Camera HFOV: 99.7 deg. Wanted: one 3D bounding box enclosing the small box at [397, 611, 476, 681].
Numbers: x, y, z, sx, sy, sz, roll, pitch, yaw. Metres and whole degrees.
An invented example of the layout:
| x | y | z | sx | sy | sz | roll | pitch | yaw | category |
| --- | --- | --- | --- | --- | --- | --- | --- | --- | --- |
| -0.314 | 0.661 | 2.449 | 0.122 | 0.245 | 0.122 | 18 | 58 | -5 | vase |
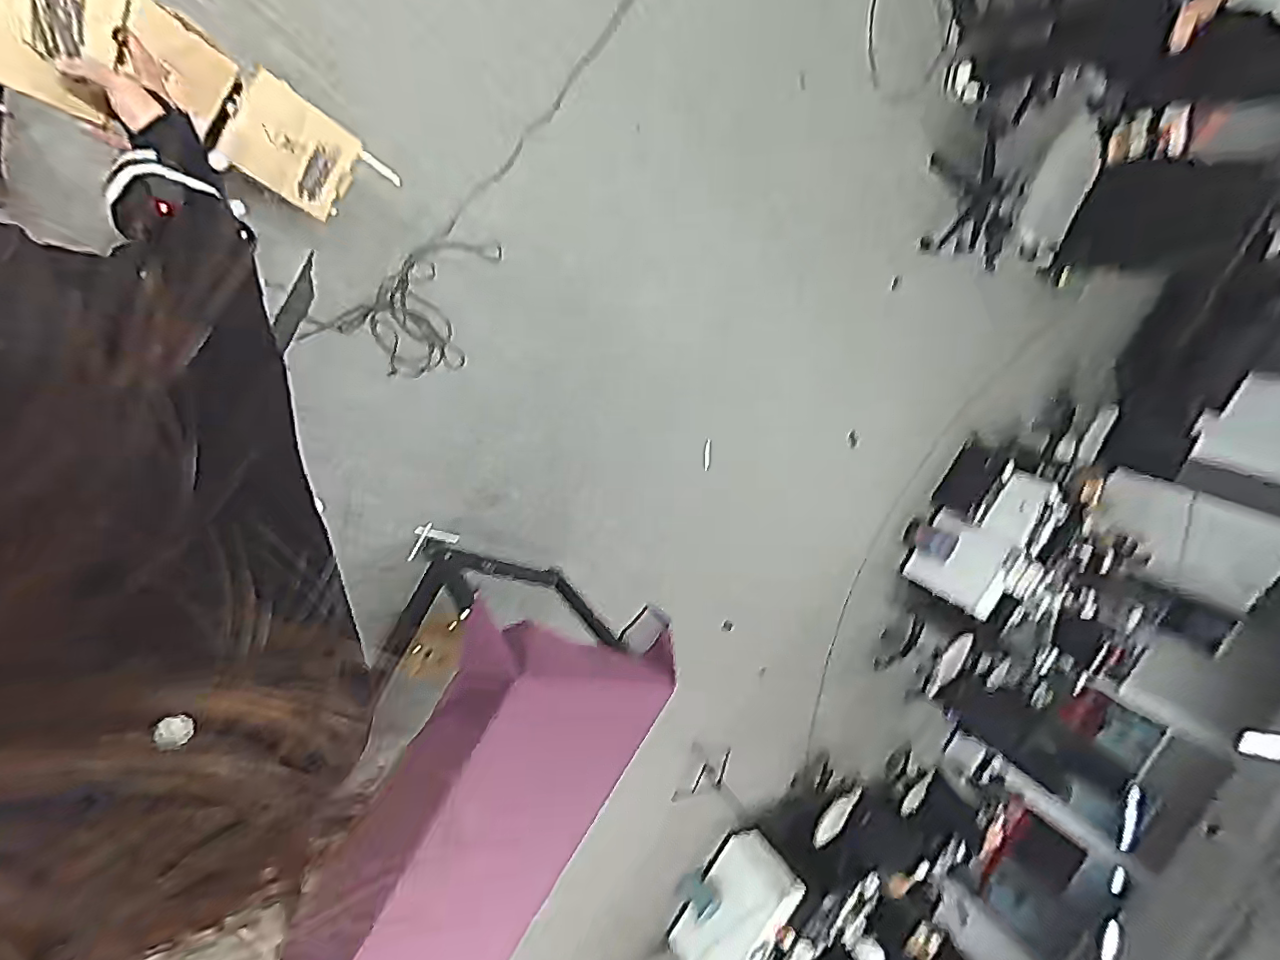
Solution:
| x | y | z | sx | sy | sz | roll | pitch | yaw | category |
| --- | --- | --- | --- | --- | --- | --- | --- | --- | --- |
| -0.709 | 0.574 | 1.876 | 0.179 | 0.176 | 0.168 | 24 | 97 | -45 | small box |

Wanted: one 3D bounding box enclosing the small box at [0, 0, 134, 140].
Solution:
| x | y | z | sx | sy | sz | roll | pitch | yaw | category |
| --- | --- | --- | --- | --- | --- | --- | --- | --- | --- |
| -0.584 | -0.443 | 0.484 | 0.179 | 0.176 | 0.168 | 10 | 111 | -47 | small box |
